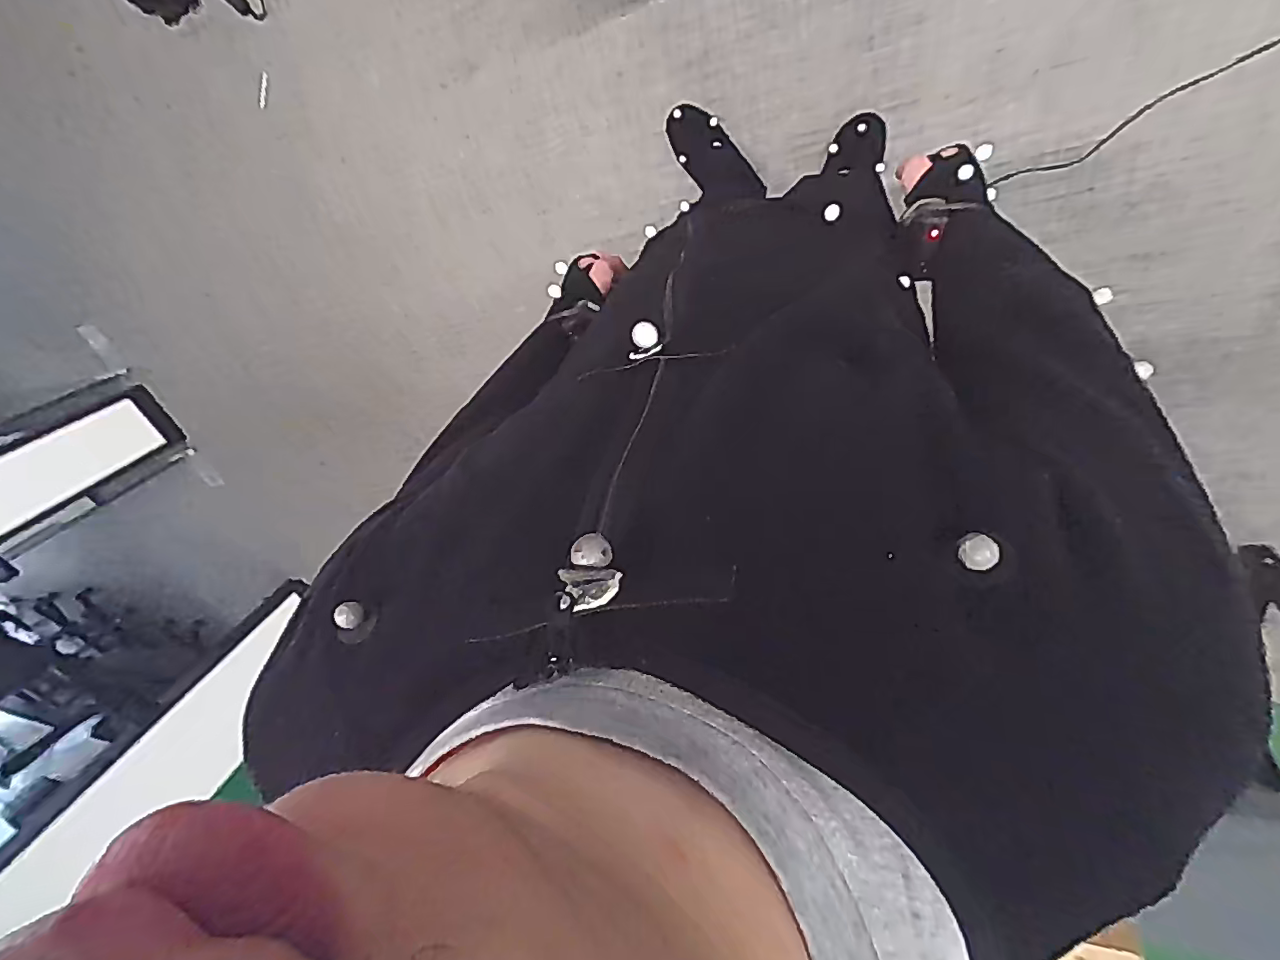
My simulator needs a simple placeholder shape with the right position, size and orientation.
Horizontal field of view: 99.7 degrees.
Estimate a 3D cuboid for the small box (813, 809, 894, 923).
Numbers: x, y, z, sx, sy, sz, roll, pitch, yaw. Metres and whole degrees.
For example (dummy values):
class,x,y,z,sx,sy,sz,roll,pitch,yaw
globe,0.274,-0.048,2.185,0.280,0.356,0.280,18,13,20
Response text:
class,x,y,z,sx,sy,sz,roll,pitch,yaw
small box,0.525,0.953,1.345,0.179,0.176,0.168,1,125,20
